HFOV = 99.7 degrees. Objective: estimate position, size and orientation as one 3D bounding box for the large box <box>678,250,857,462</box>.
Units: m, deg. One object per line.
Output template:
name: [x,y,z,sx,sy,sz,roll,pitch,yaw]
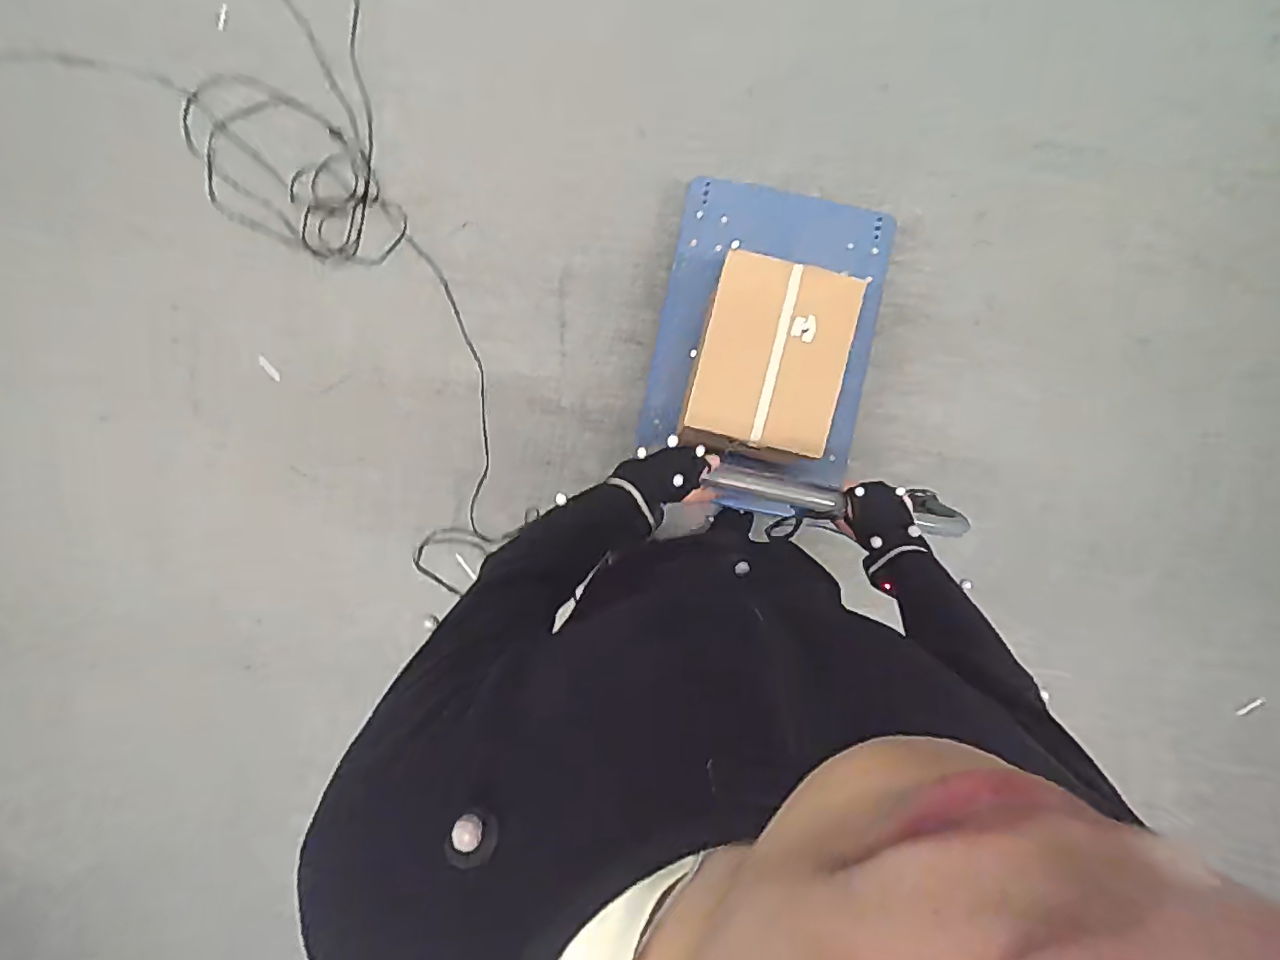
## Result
large box: [0.287,-0.275,1.328,0.320,0.320,0.408,14,89,0]
